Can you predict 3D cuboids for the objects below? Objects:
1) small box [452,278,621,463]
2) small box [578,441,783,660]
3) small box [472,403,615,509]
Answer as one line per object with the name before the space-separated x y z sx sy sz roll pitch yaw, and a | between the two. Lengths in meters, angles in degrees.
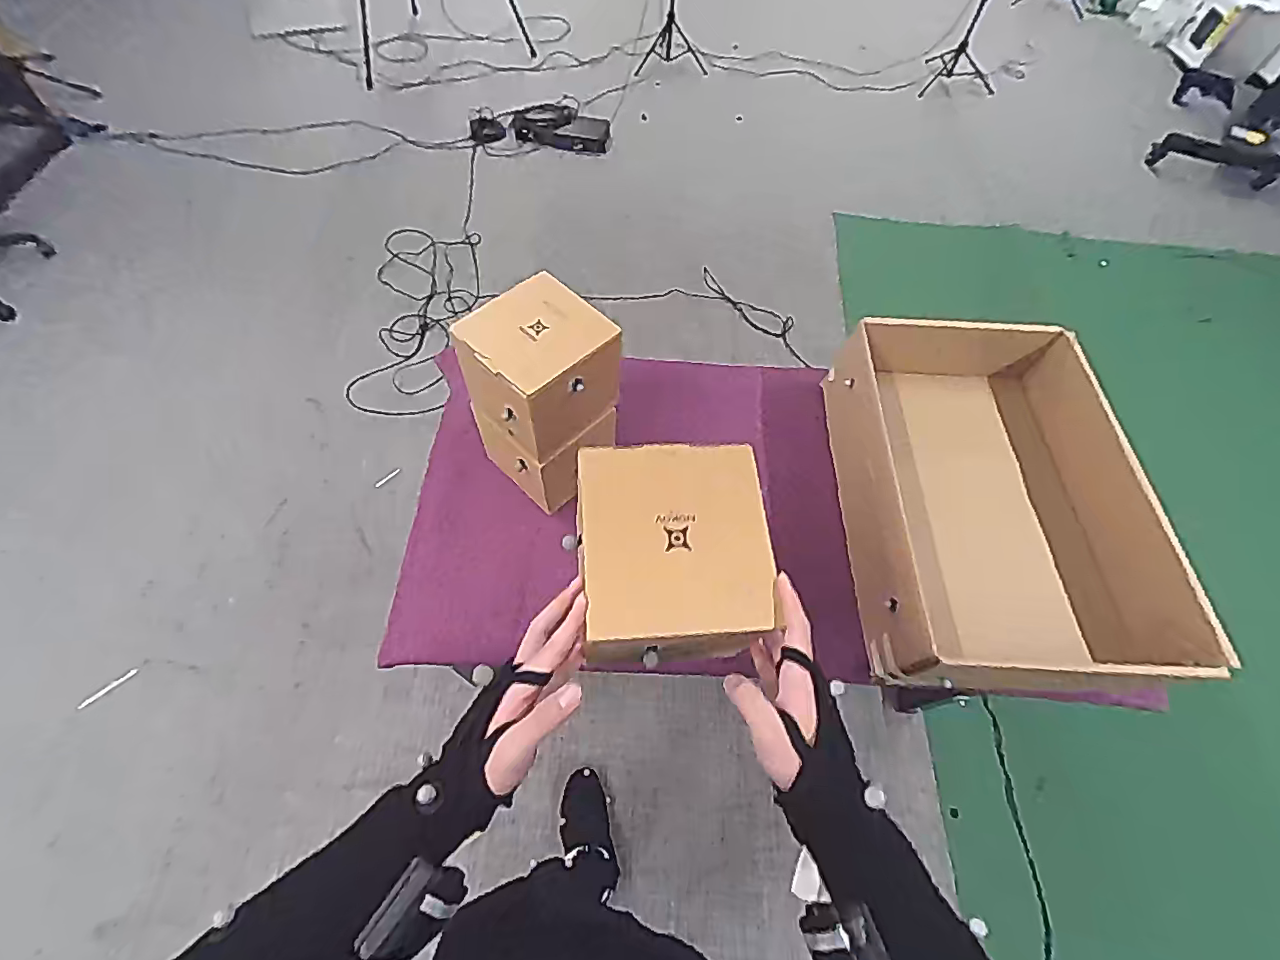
small box | -0.145 -0.157 0.808 0.168 0.176 0.179 42 65 17
small box | 0.024 0.079 0.540 0.168 0.176 0.179 -2 64 -8
small box | -0.160 -0.071 0.946 0.179 0.176 0.168 41 64 18
